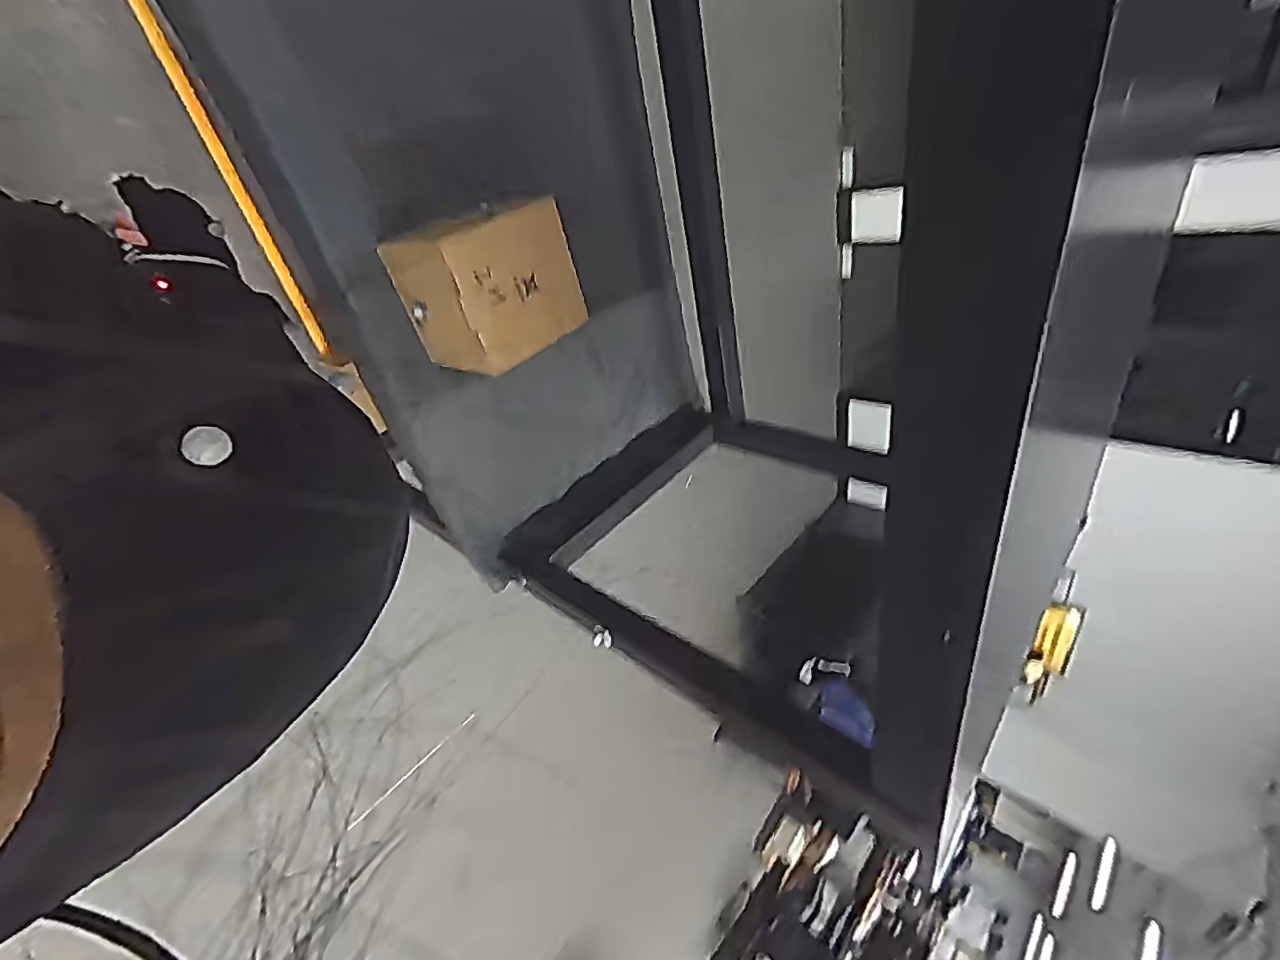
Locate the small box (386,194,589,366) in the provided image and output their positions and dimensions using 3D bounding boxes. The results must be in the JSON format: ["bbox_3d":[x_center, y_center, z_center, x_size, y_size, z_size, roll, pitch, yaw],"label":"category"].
[{"bbox_3d":[-0.203,-0.275,0.736,0.179,0.176,0.168,-41,131,-32],"label":"small box"}]
